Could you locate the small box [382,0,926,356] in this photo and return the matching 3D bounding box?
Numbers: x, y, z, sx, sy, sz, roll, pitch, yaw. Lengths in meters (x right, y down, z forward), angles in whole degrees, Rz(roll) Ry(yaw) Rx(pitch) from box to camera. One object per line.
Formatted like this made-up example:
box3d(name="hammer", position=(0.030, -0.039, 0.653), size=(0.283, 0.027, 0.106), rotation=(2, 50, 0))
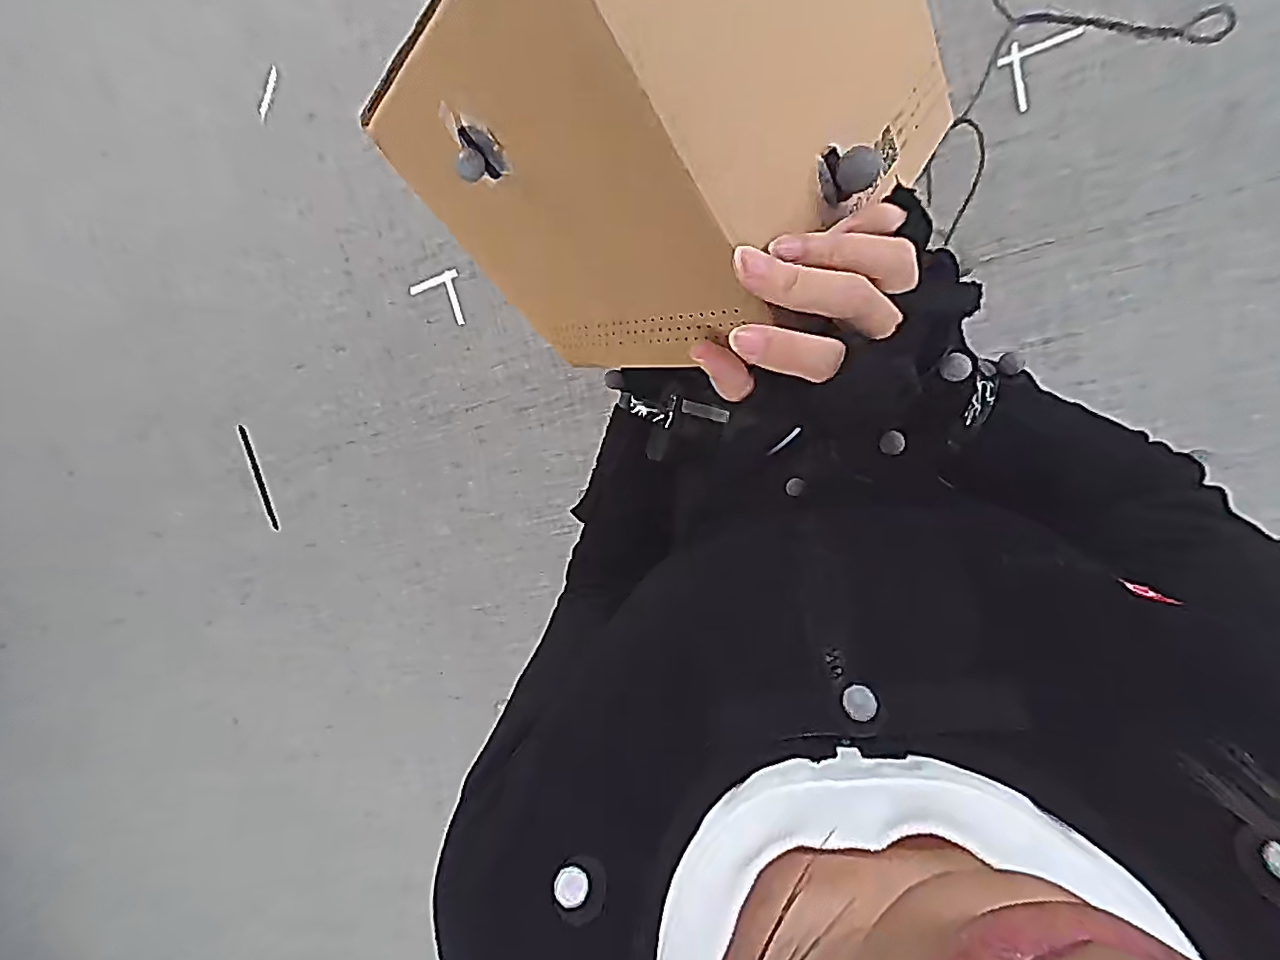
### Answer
box3d(name="small box", position=(0.010, -0.179, 0.278), size=(0.179, 0.176, 0.168), rotation=(14, 65, 51))
